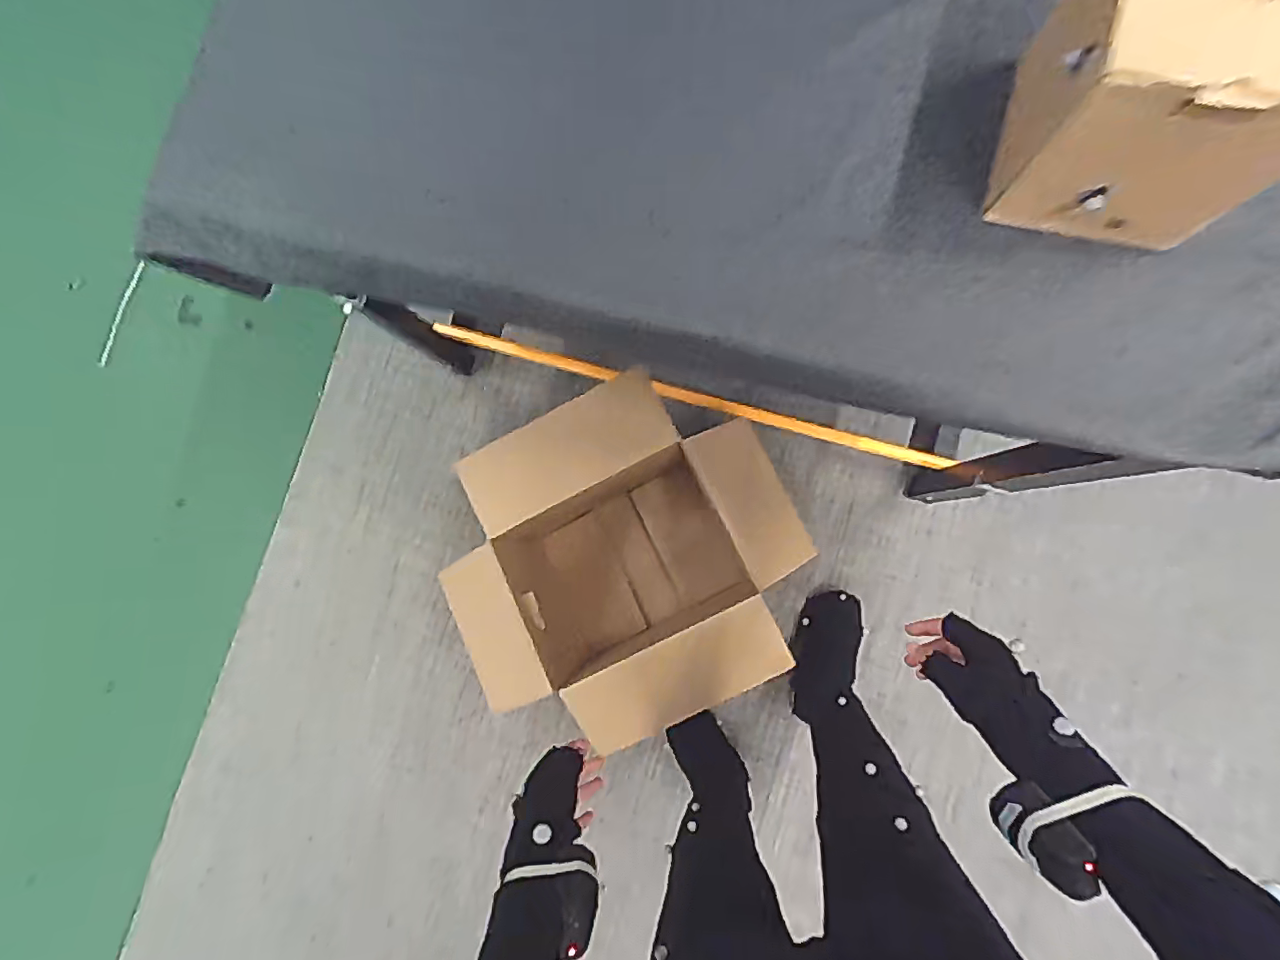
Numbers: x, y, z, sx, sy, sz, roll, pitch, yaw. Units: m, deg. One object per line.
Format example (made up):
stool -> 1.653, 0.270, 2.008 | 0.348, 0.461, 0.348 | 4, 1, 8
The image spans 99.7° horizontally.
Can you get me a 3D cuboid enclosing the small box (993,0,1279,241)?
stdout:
small box -> 0.422, -0.329, 0.434 | 0.168, 0.176, 0.179 | 15, 87, 8
